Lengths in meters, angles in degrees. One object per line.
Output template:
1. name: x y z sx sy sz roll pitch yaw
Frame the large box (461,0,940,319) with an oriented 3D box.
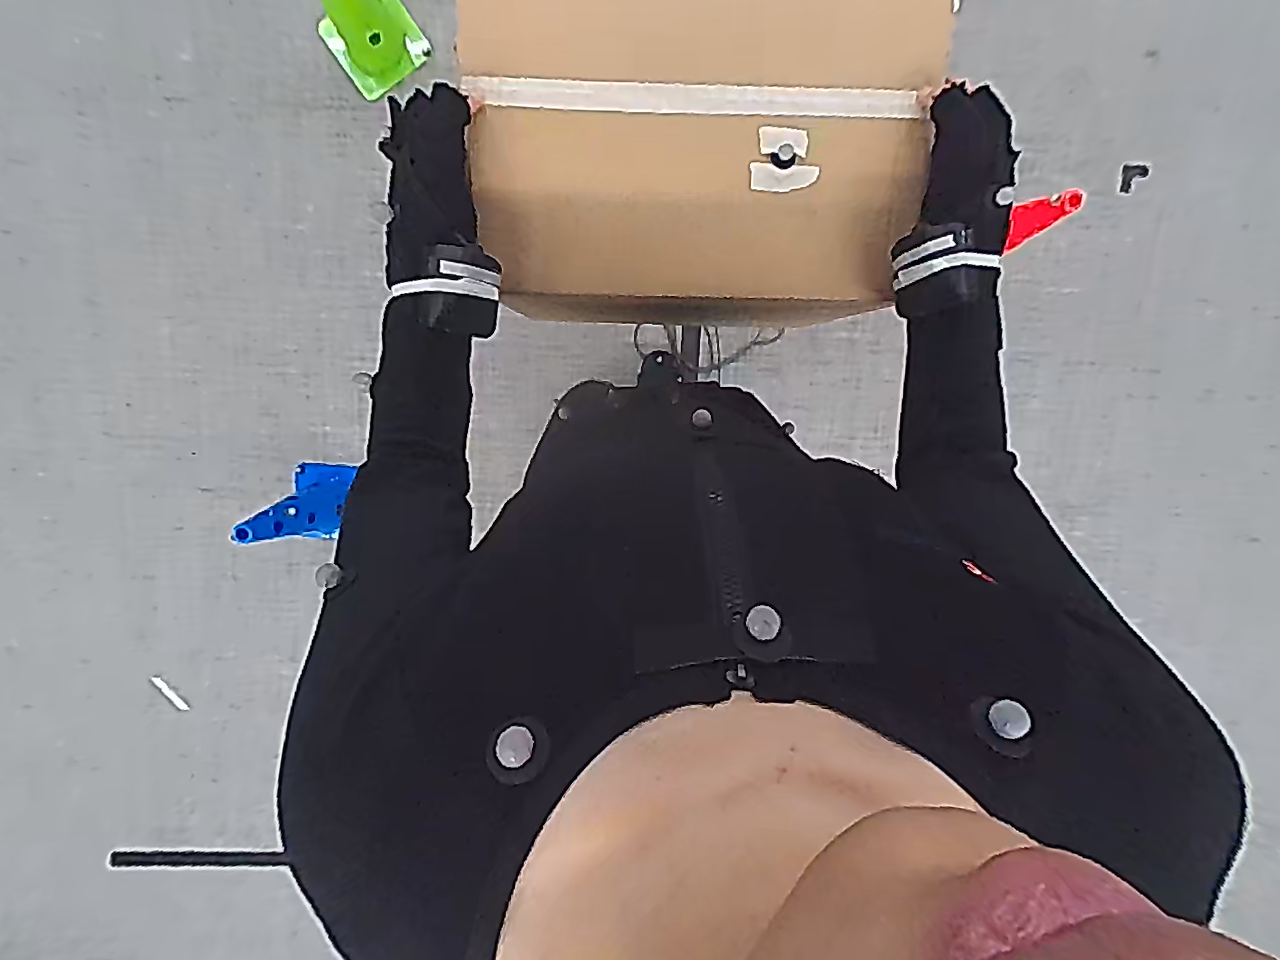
1. large box: 0.044 -0.356 0.602 0.408 0.320 0.320 0 102 -3

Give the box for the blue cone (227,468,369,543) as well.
1. blue cone: -0.818 0.086 1.284 0.192 0.380 0.193 5 98 -2

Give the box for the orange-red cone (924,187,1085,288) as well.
1. orange-red cone: 0.842 -0.579 1.230 0.198 0.360 0.199 -1 97 -3

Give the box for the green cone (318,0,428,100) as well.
1. green cone: -0.627 -1.016 1.111 0.202 0.368 0.200 -35 97 5
